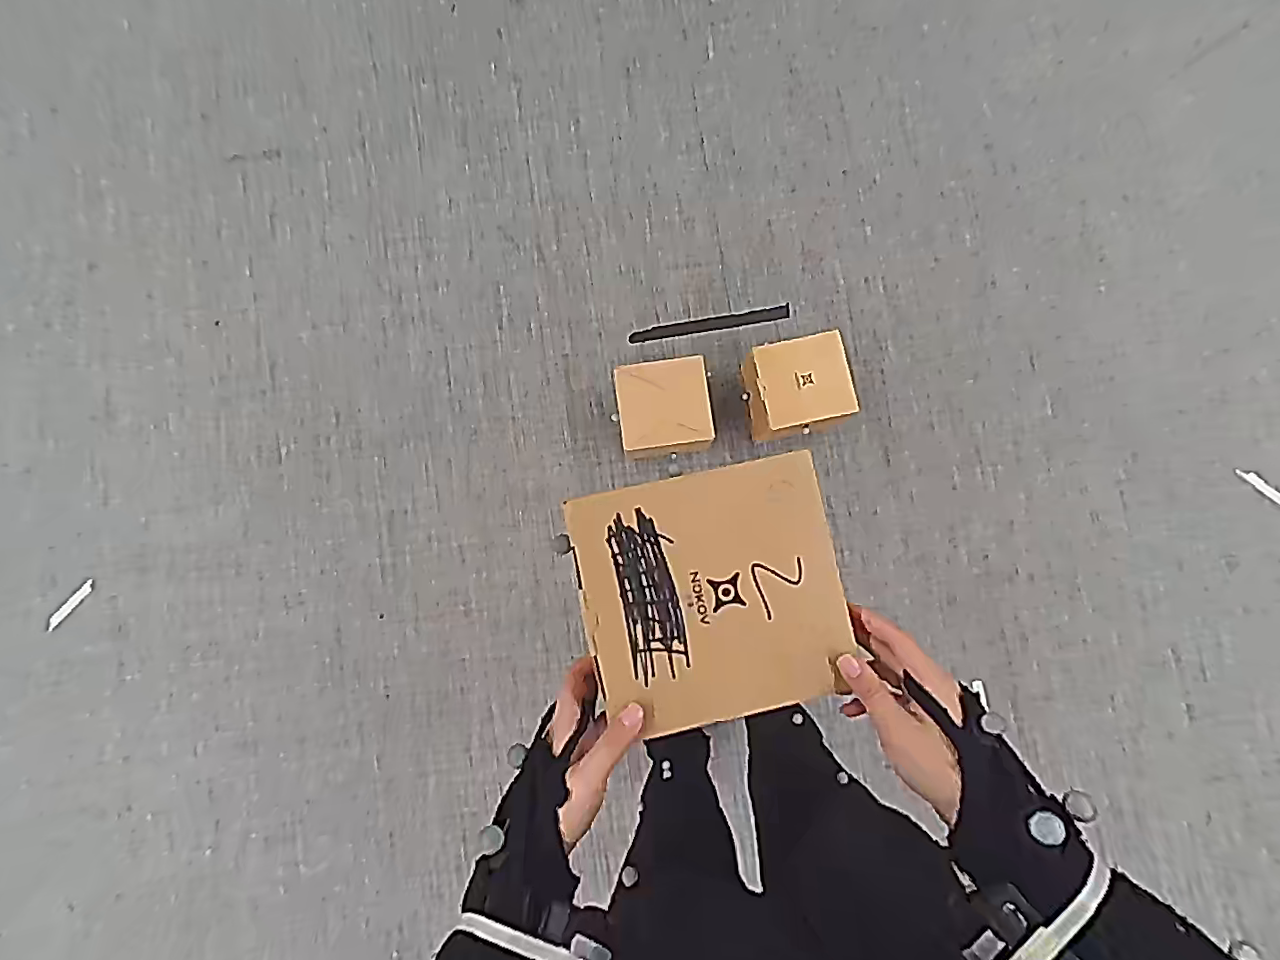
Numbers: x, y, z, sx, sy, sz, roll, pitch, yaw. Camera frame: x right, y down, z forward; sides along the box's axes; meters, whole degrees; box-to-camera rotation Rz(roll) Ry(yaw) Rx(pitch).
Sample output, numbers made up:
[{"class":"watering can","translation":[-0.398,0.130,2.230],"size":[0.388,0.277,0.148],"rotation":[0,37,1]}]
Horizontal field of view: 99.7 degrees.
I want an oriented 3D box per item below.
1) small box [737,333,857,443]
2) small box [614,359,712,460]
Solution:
[{"class":"small box","translation":[0.313,-0.181,1.112],"size":[0.179,0.176,0.168],"rotation":[-13,85,0]},{"class":"small box","translation":[0.046,-0.140,1.110],"size":[0.179,0.176,0.168],"rotation":[-8,85,0]}]
